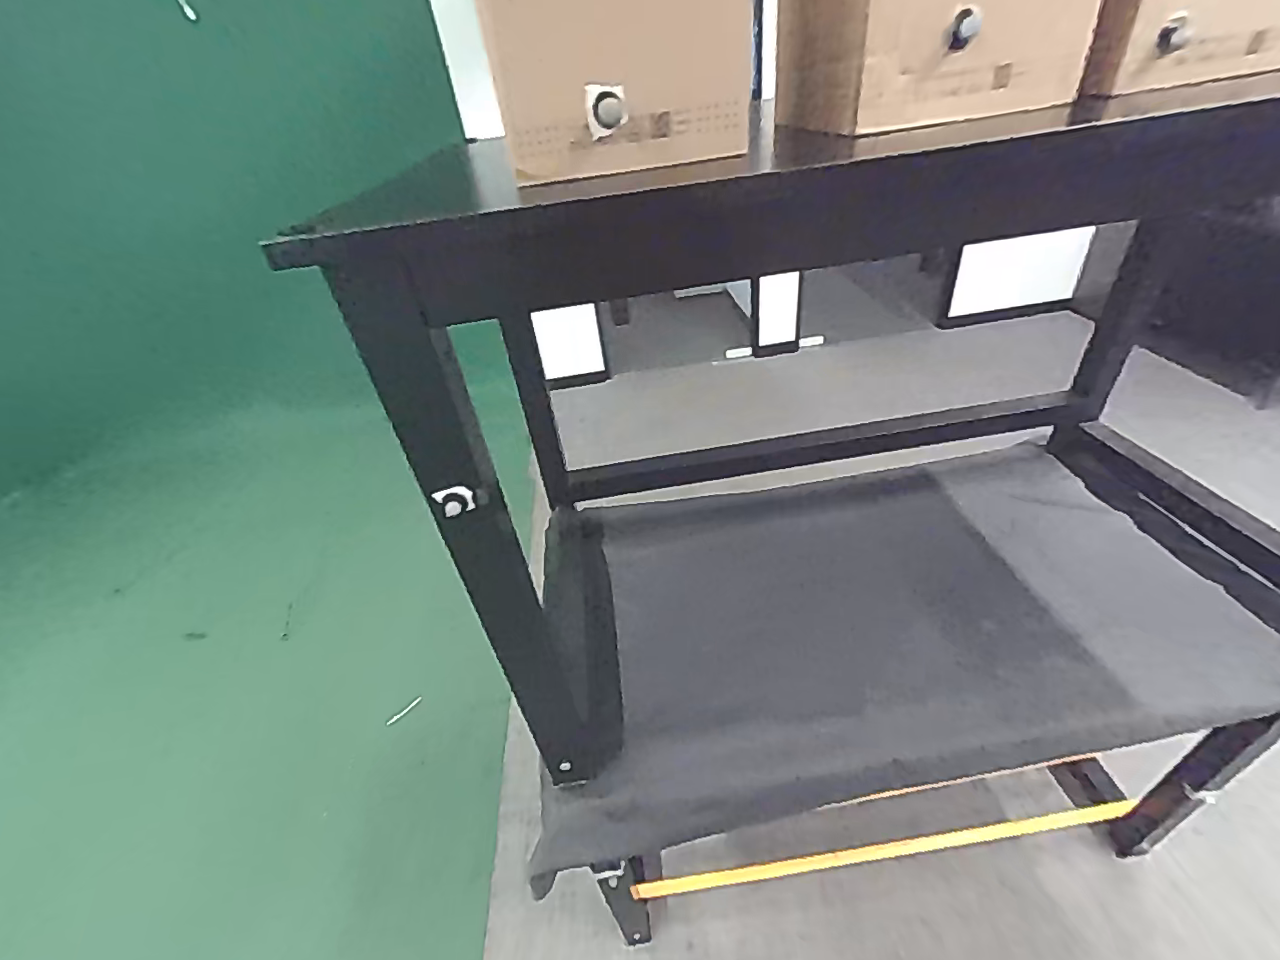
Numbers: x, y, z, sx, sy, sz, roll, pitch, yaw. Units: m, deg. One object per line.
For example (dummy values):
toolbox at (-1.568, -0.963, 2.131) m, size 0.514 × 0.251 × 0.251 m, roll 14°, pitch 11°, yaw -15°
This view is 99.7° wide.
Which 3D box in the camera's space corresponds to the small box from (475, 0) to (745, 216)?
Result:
small box at (-0.025, -0.309, 0.405) m, size 0.168 × 0.176 × 0.179 m, roll -11°, pitch 37°, yaw -2°
